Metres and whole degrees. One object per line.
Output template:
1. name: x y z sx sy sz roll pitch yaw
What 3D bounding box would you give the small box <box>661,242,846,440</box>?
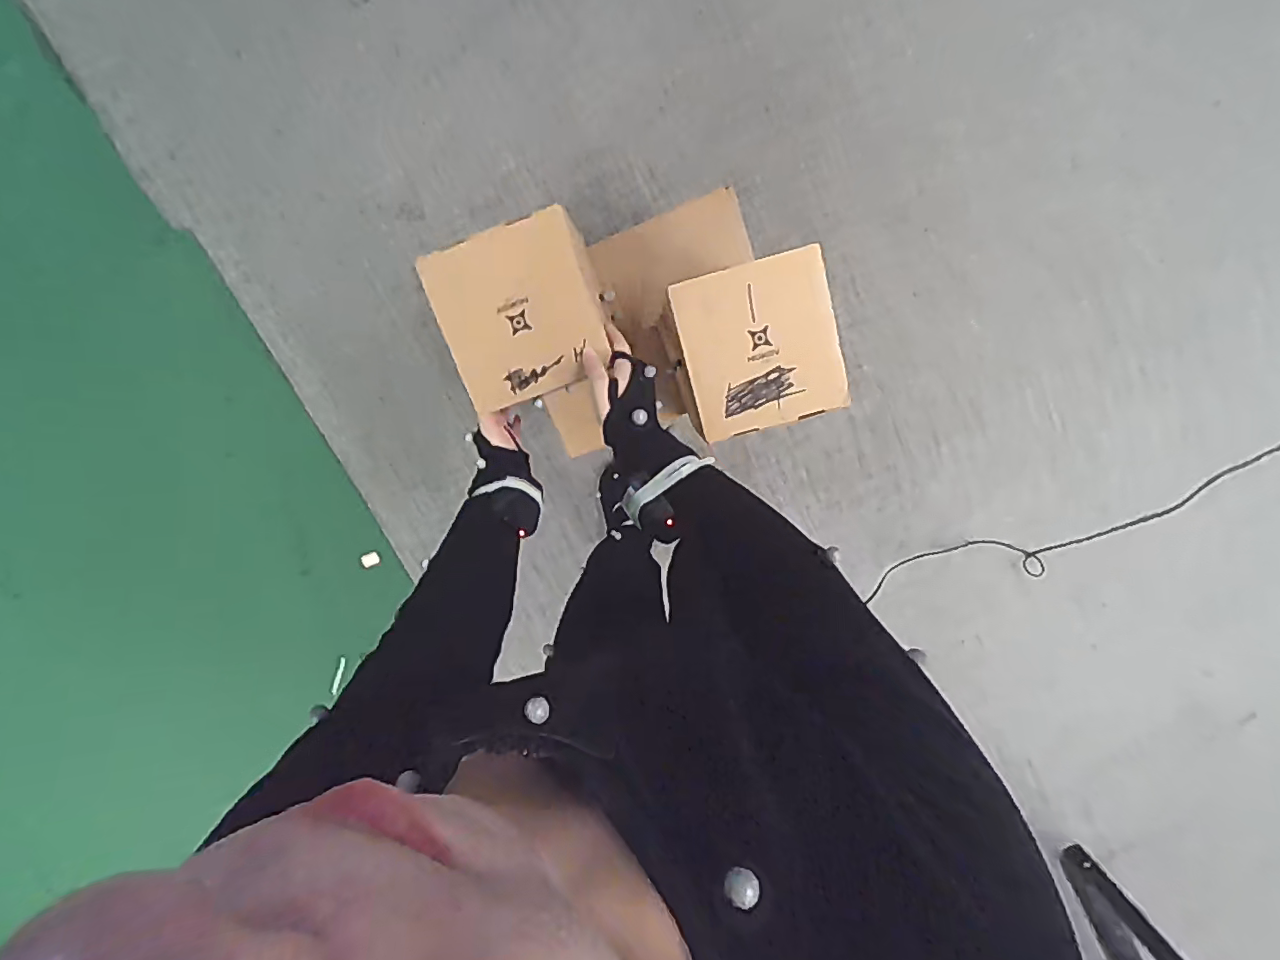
1. small box: 0.126 -0.161 0.657 0.168 0.176 0.179 -16 99 3

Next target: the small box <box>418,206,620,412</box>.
1. small box: -0.129 -0.193 0.652 0.168 0.176 0.179 -18 101 6
